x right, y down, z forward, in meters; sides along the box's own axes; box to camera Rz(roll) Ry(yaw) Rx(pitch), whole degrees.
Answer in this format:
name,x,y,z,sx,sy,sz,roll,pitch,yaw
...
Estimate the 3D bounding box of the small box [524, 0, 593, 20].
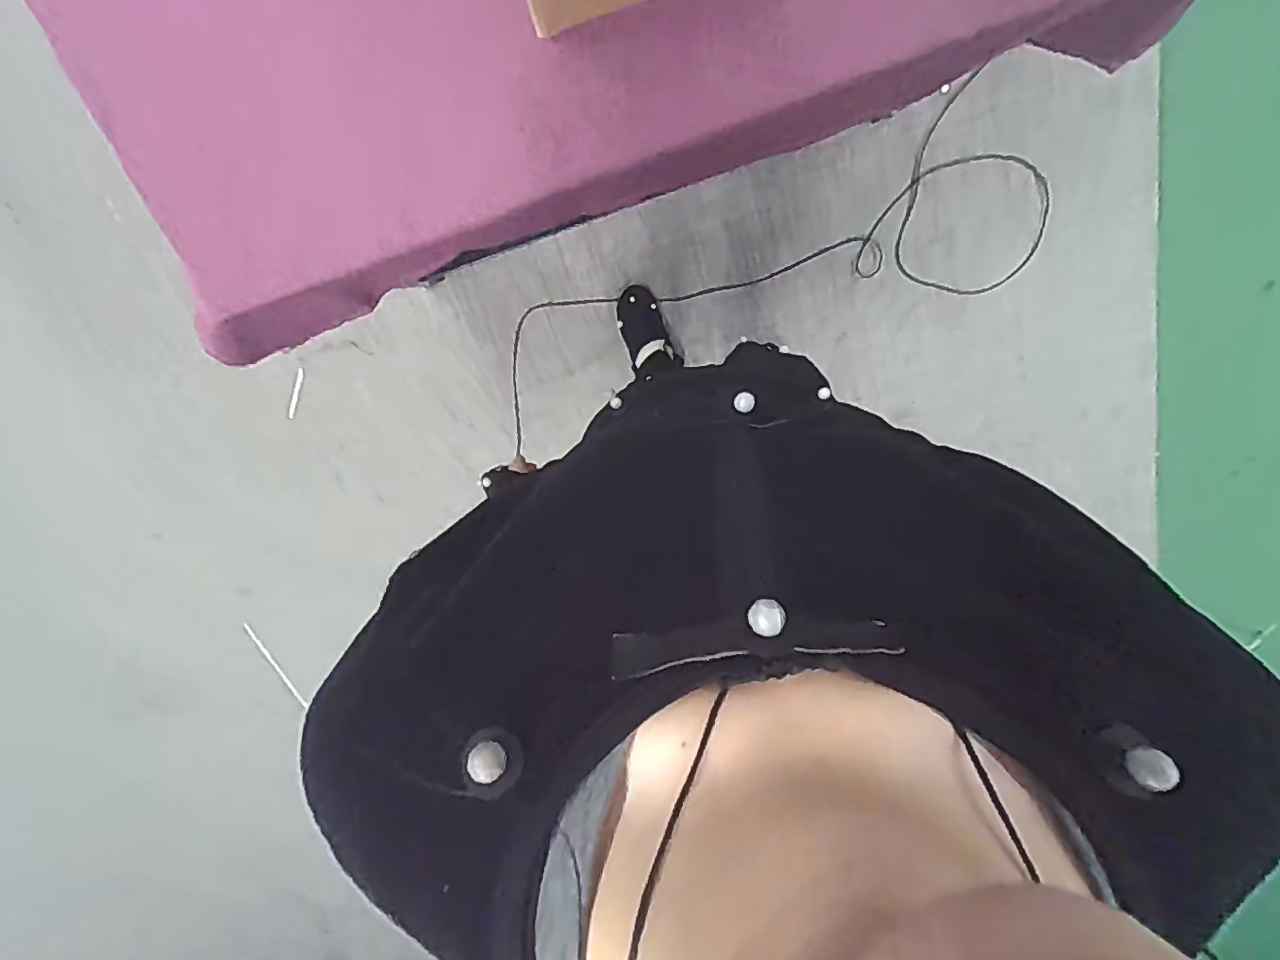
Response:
name,x,y,z,sx,sy,sz,roll,pitch,yaw
small box,-0.054,-0.551,0.467,0.179,0.176,0.168,-18,109,4
